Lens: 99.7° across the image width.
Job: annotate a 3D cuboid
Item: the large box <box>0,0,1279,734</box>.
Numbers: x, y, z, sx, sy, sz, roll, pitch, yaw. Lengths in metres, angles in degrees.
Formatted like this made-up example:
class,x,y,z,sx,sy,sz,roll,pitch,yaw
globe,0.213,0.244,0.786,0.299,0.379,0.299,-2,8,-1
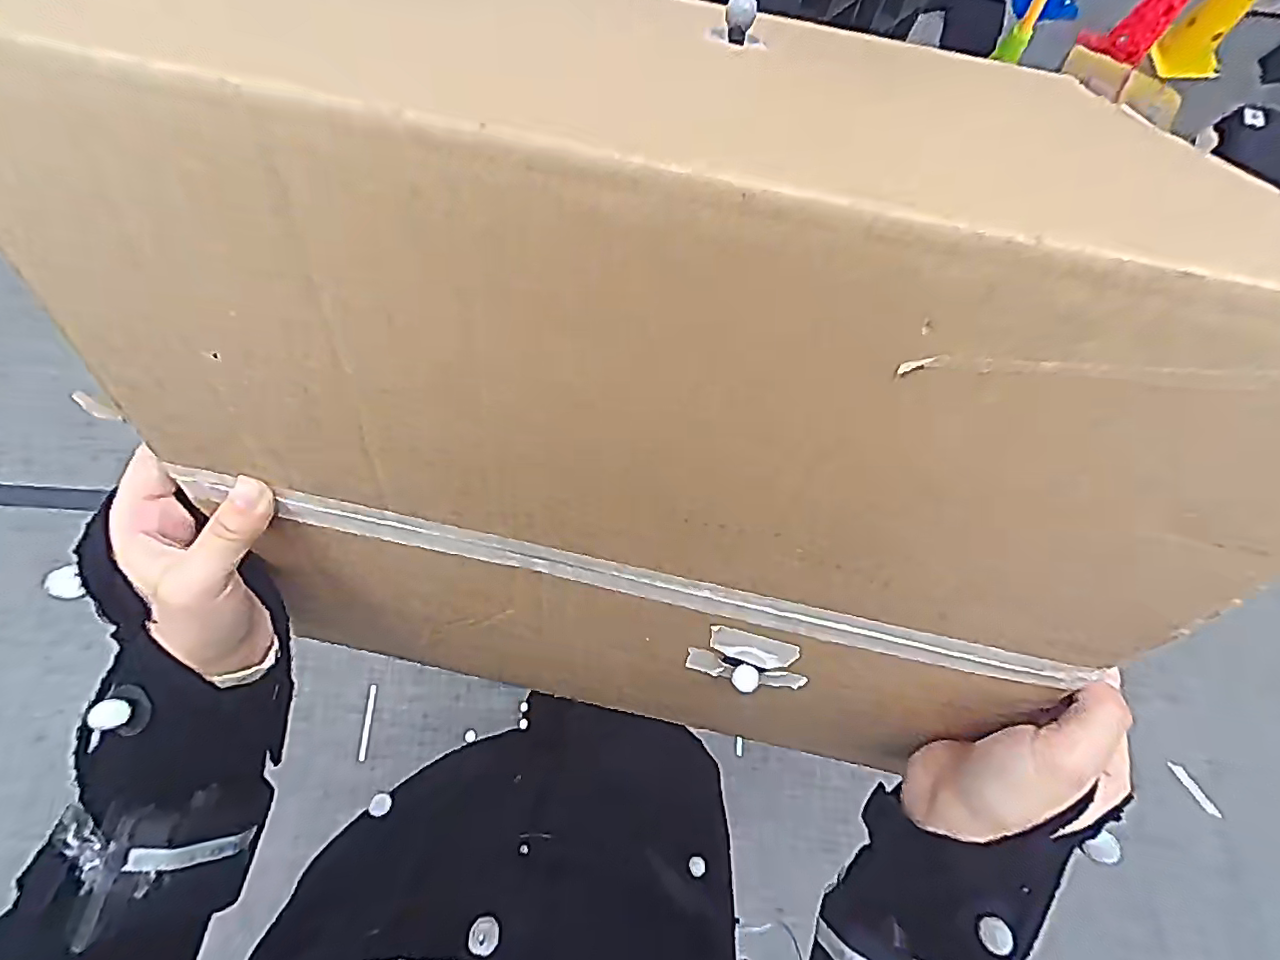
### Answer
class,x,y,z,sx,sy,sz,roll,pitch,yaw
large box,0.030,-0.090,0.333,0.408,0.320,0.320,11,47,2
